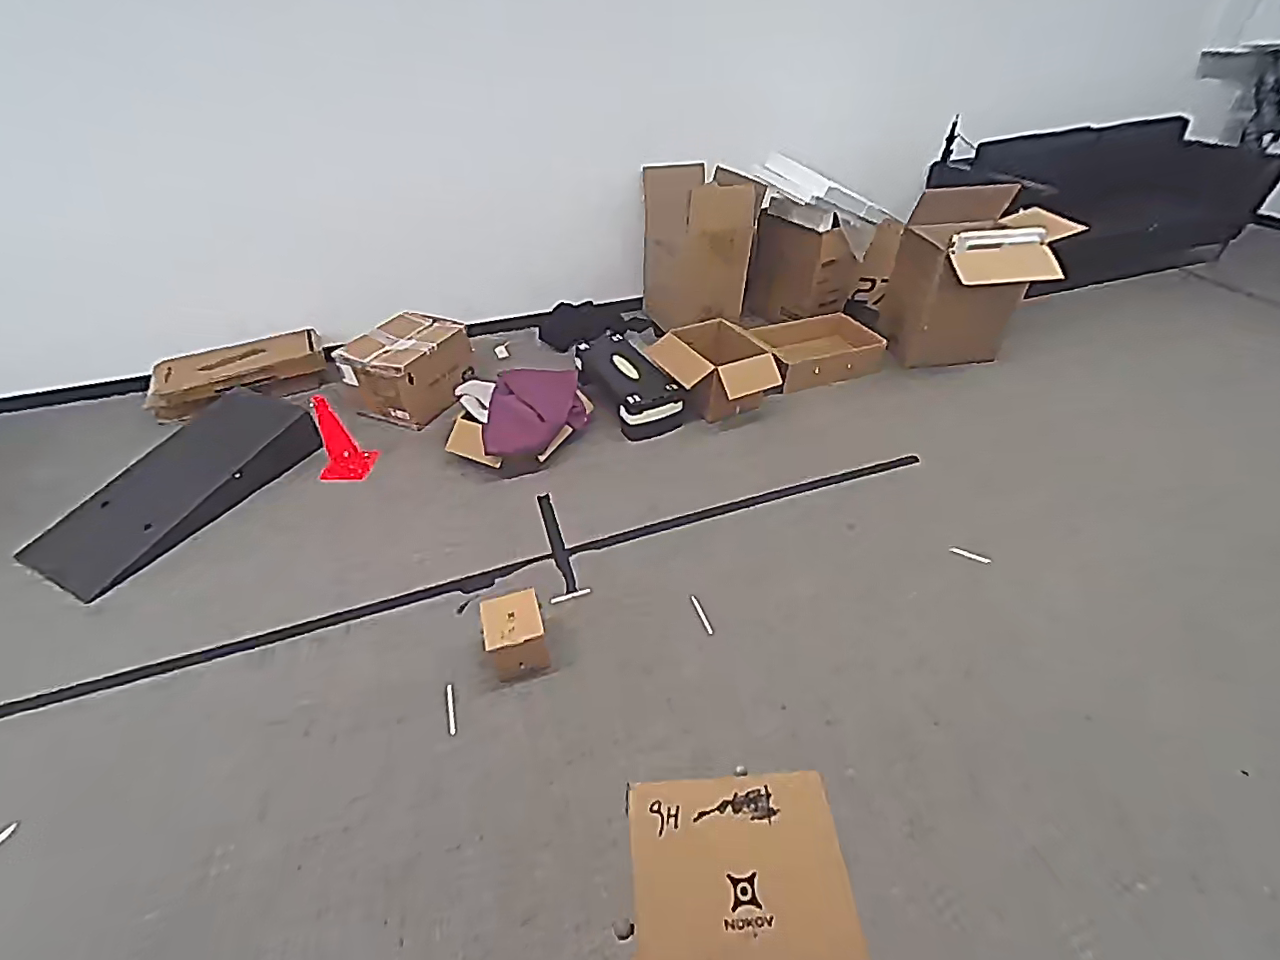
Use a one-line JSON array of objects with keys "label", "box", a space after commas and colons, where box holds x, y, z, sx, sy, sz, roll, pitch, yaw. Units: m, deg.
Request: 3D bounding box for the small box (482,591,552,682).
[{"label": "small box", "box": [-0.368, 0.469, 1.621, 0.168, 0.176, 0.179, -13, 43, -13]}]
